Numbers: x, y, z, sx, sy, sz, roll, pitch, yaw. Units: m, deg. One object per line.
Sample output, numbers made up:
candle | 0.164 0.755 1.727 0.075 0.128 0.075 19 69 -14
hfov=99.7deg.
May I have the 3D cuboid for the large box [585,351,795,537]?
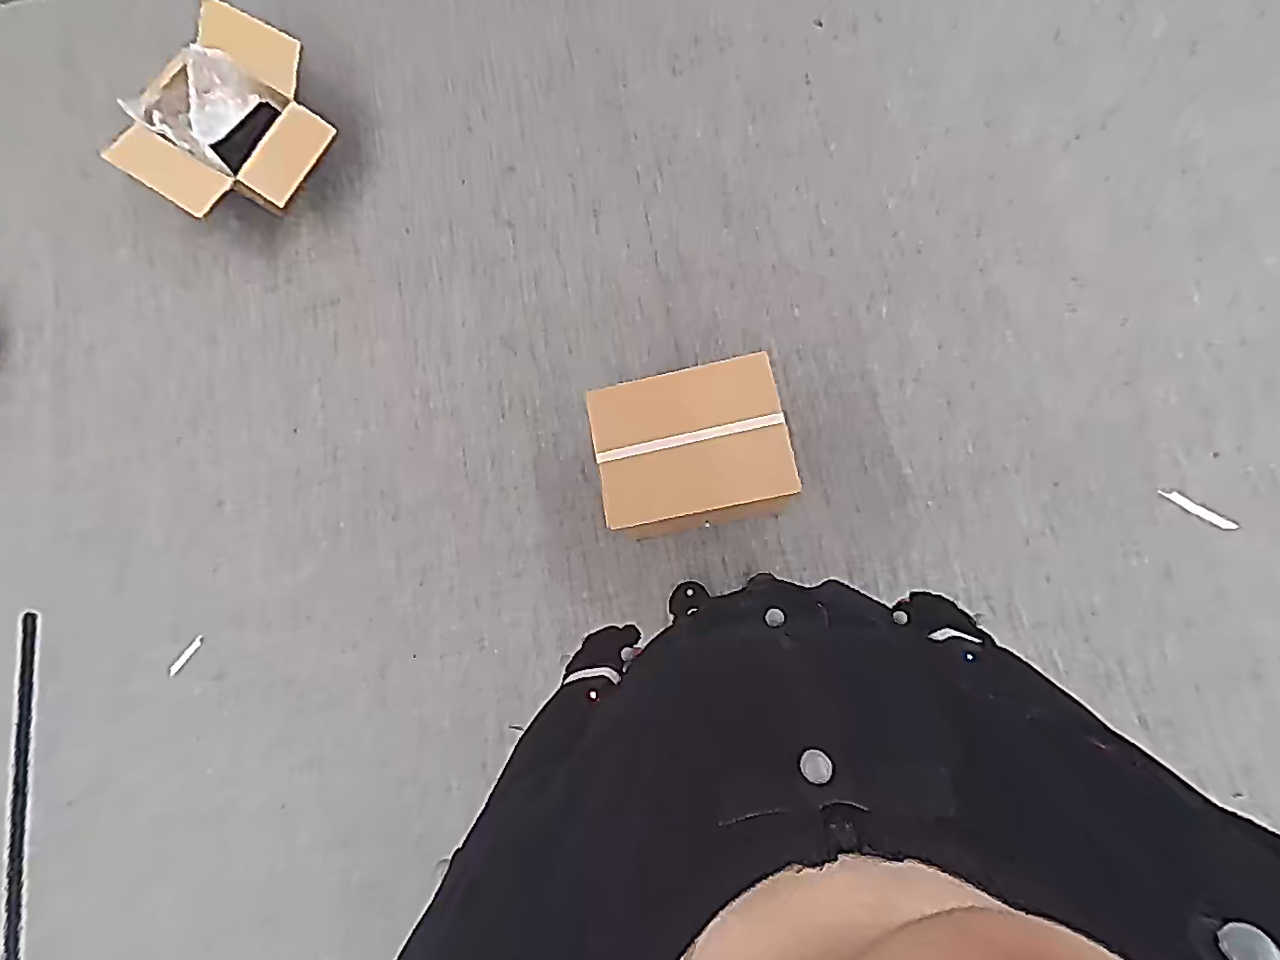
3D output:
large box | 0.117 -0.063 1.294 0.408 0.320 0.320 -12 79 6
